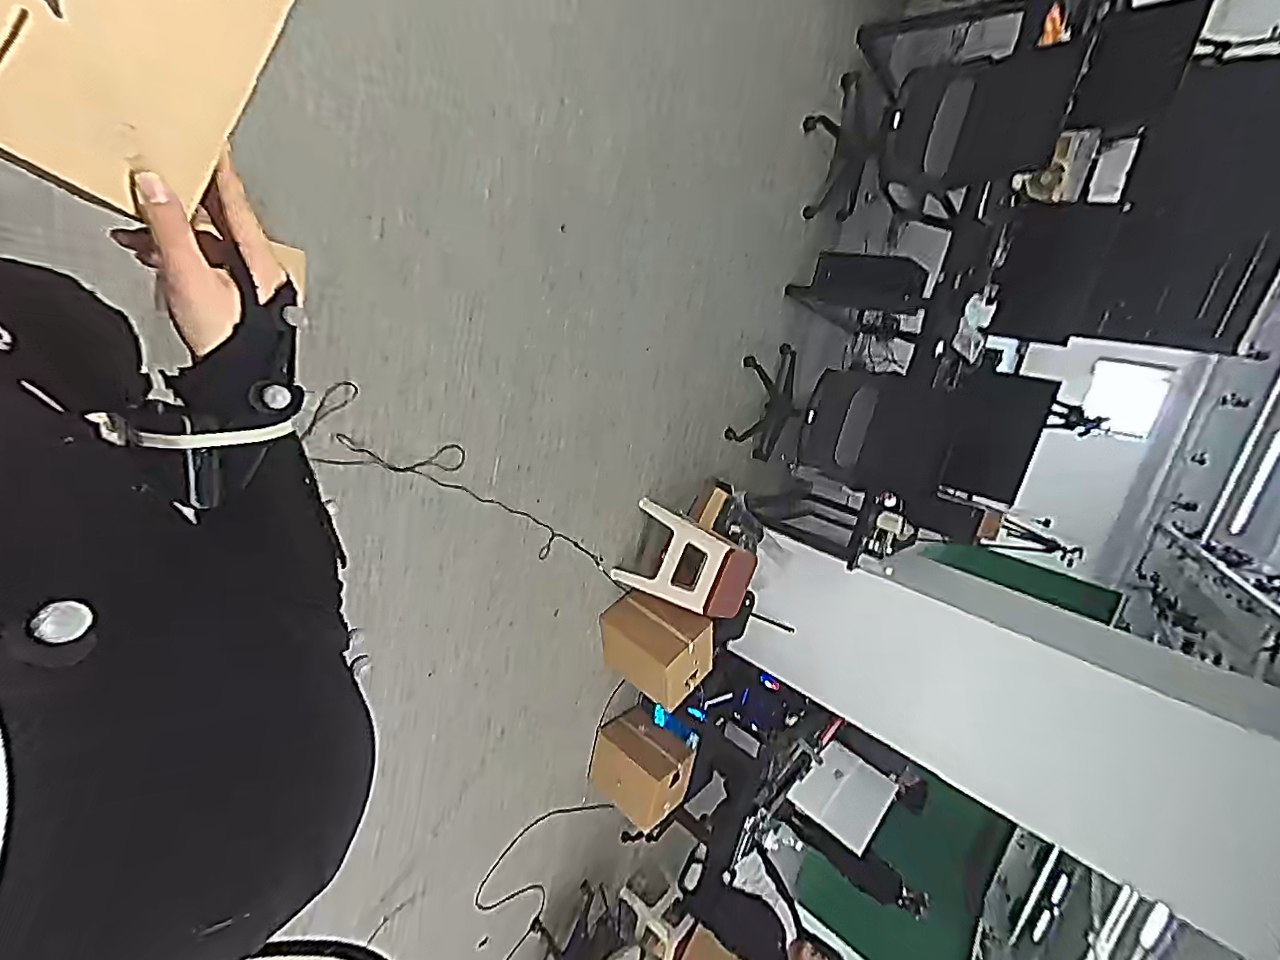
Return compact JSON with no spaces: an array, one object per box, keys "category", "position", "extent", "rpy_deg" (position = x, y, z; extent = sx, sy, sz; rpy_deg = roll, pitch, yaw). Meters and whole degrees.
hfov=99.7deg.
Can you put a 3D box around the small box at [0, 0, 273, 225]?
[{"category":"small box","position":[-0.334,-0.269,0.276],"extent":[0.168,0.176,0.179],"rpy_deg":[24,91,-62]}]

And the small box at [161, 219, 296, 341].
[{"category":"small box","position":[-0.780,-0.376,1.023],"extent":[0.168,0.176,0.179],"rpy_deg":[-1,108,-51]}]
